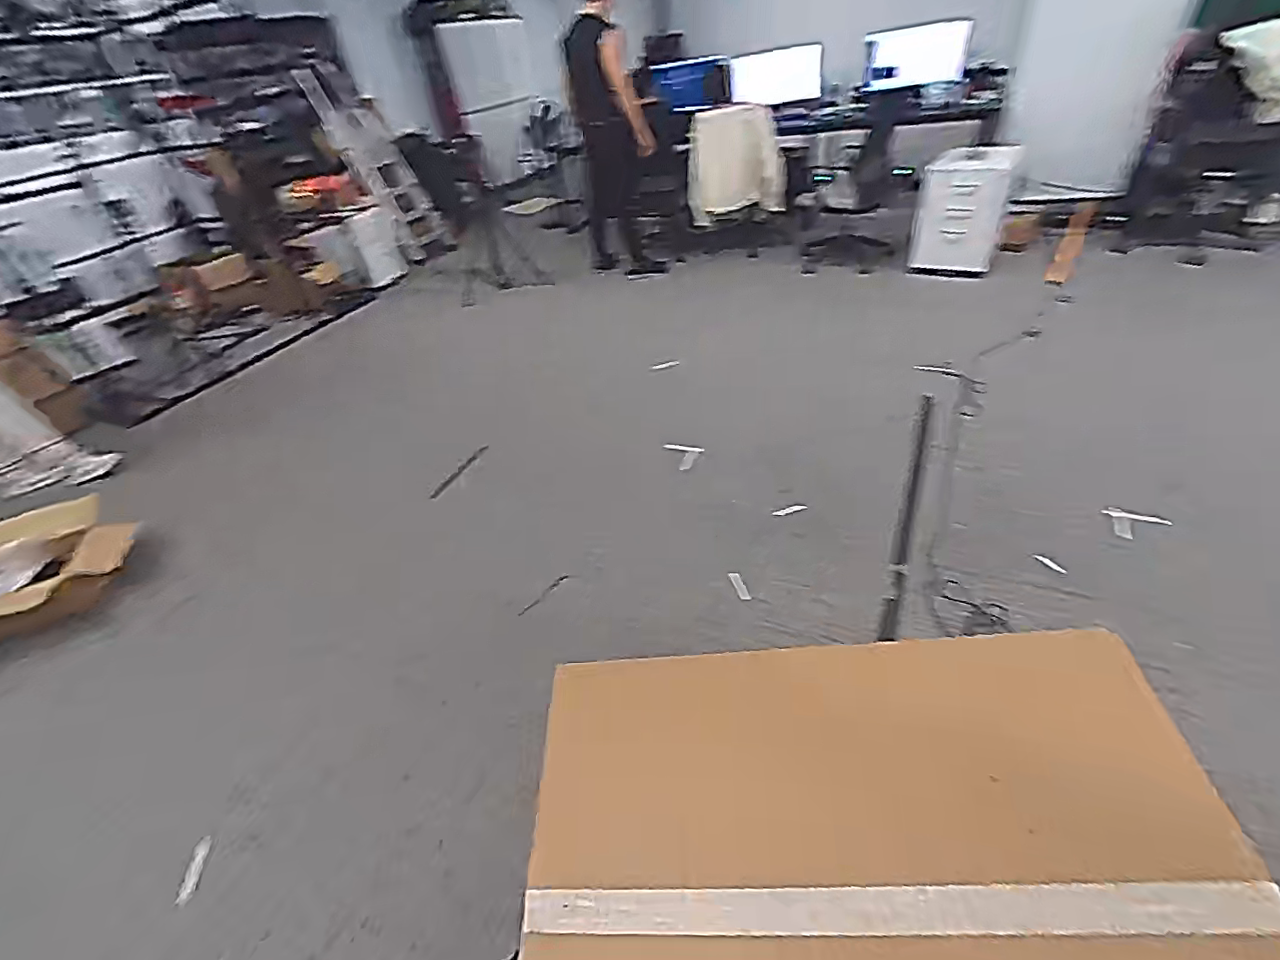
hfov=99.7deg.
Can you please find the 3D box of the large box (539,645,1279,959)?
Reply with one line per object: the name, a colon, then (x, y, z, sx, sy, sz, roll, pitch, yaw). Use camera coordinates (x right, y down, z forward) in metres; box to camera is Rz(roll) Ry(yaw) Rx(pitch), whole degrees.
large box: (0.164, 0.351, 0.413, 0.408, 0.320, 0.320, -7, 45, 9)
